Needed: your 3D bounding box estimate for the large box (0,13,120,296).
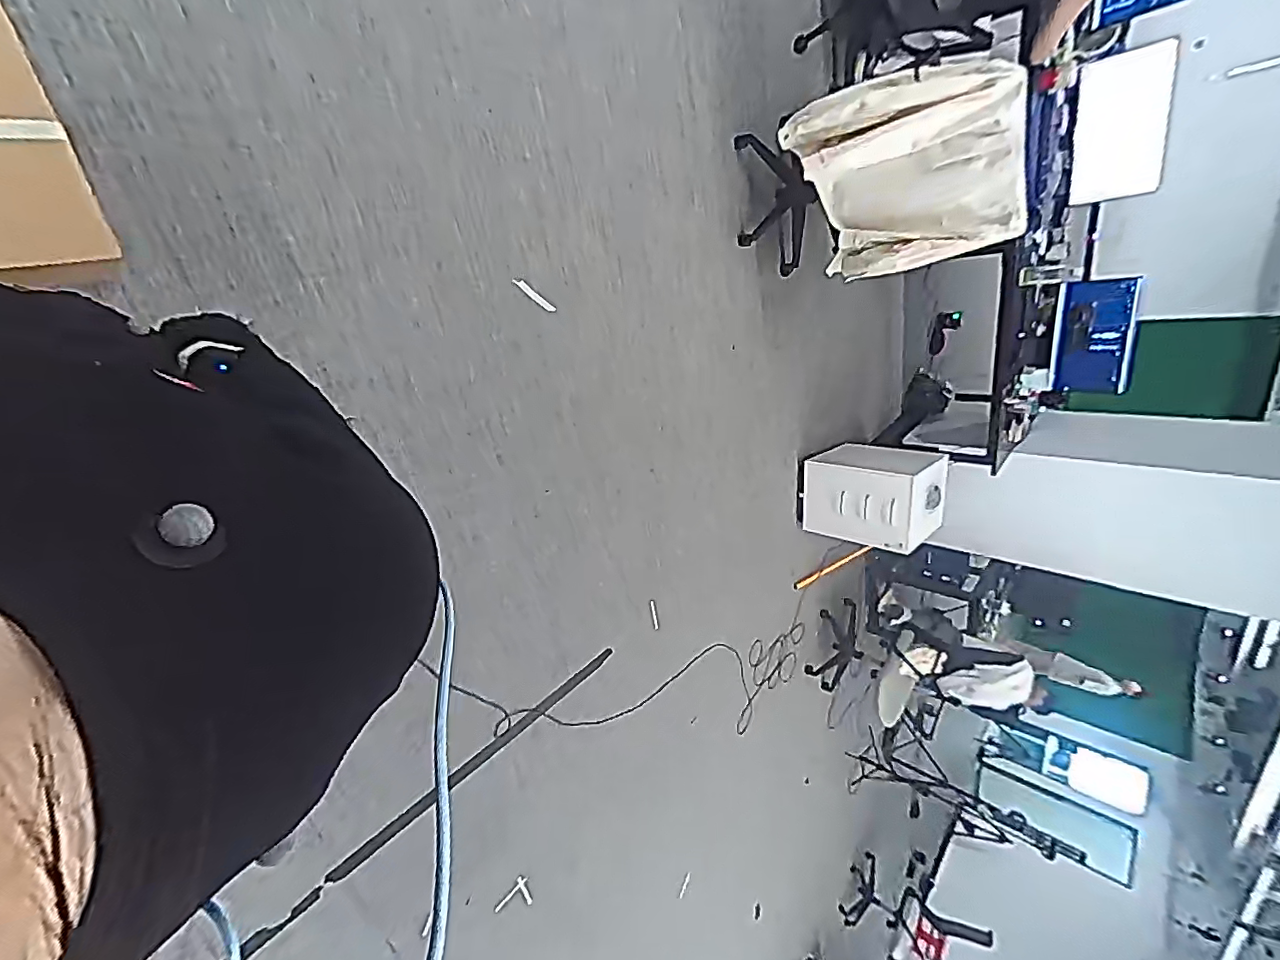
[{"bbox_3d":[-1.012,-0.398,0.698,0.408,0.320,0.320,-29,120,-39],"label":"large box"}]
